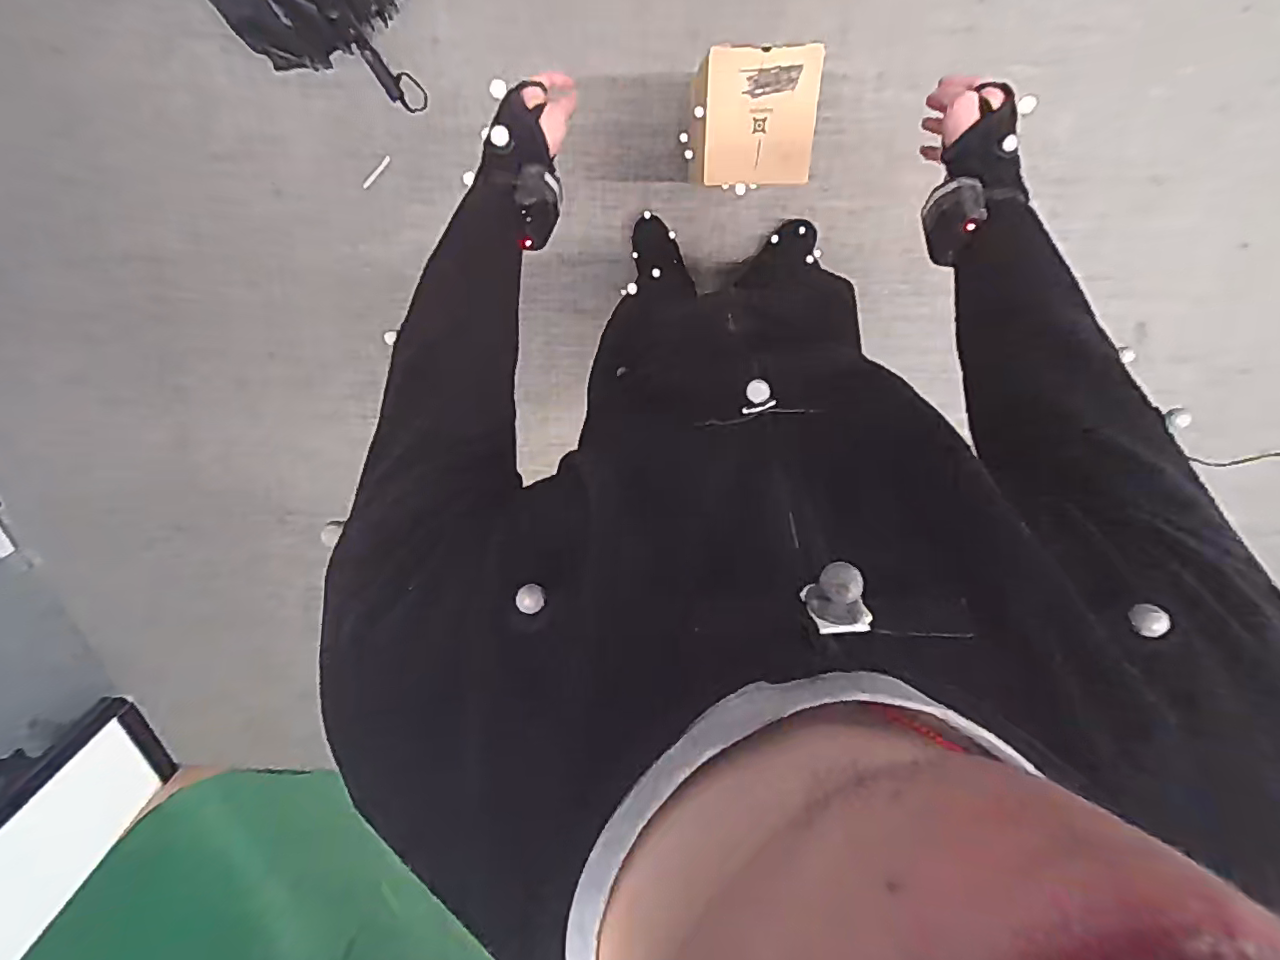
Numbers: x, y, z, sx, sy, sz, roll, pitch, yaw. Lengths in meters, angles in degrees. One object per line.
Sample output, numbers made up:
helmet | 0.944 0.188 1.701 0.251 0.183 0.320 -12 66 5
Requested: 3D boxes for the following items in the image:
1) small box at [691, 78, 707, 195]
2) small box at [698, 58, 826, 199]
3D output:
small box | 0.185 -0.636 1.016 0.168 0.176 0.179 0 117 1
small box | 0.184 -0.555 0.872 0.168 0.176 0.179 0 119 1
